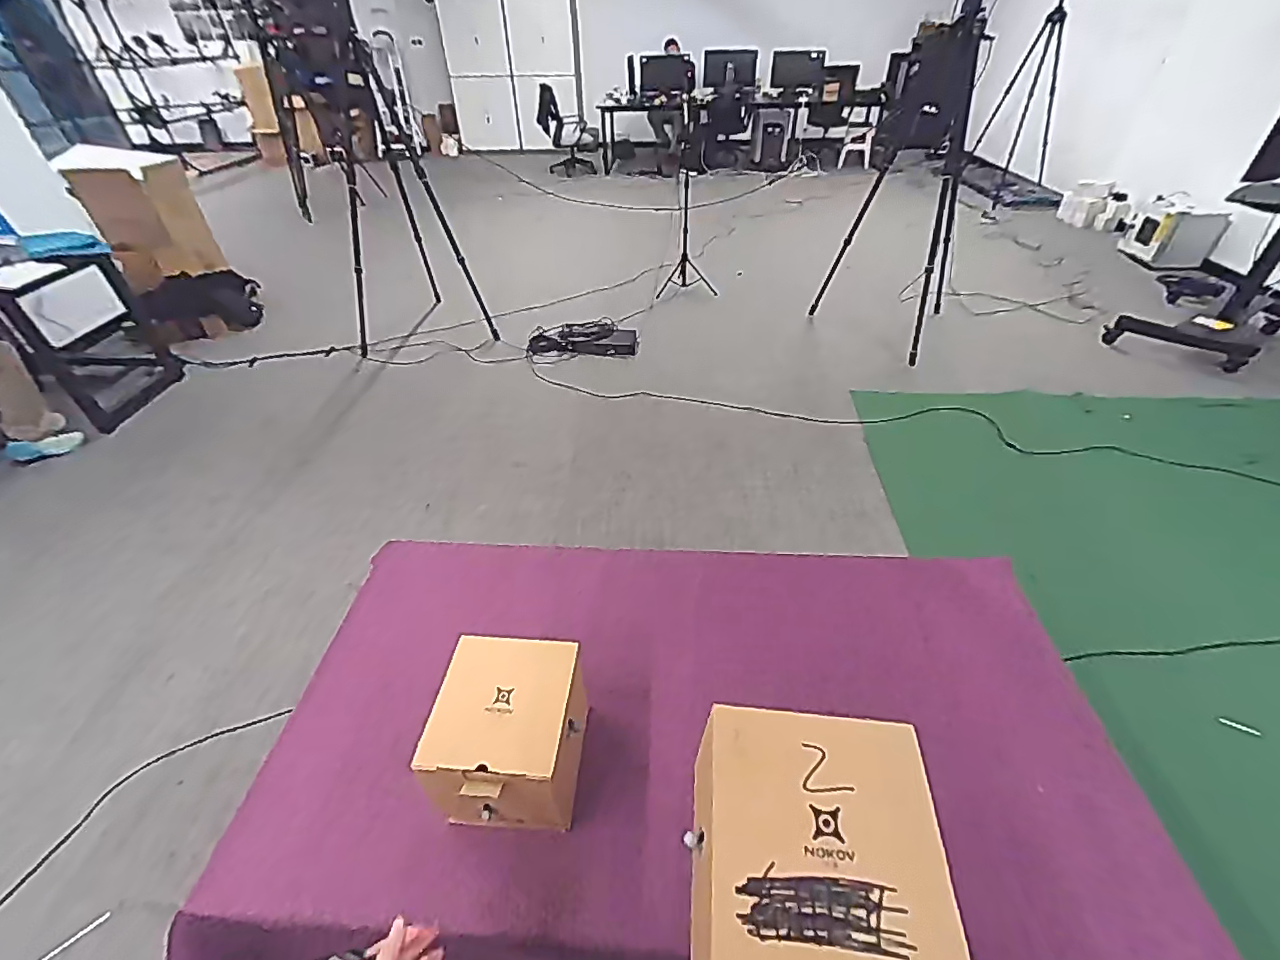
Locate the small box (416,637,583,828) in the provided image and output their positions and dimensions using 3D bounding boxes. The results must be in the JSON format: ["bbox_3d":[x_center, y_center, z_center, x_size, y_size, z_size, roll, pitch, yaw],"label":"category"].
[{"bbox_3d":[-0.173,0.340,0.734,0.168,0.176,0.179,3,41,5],"label":"small box"}]
